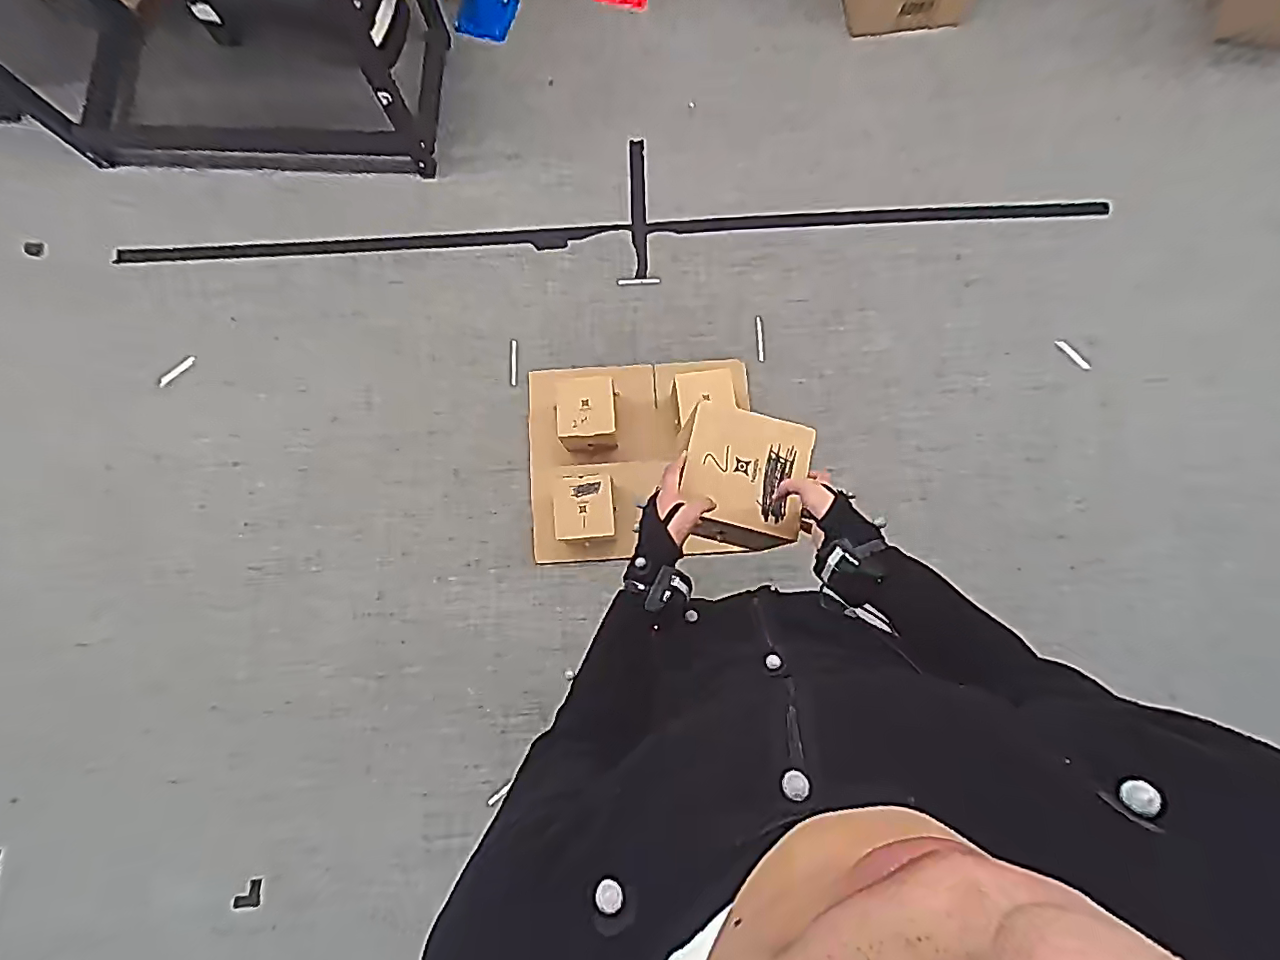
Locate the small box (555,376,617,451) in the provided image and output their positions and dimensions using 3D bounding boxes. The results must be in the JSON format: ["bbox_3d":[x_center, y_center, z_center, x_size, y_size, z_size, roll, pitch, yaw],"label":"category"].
[{"bbox_3d":[-0.158,-0.195,1.612,0.168,0.176,0.179,-4,80,0],"label":"small box"}]

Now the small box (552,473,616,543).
[{"bbox_3d":[-0.158,0.086,1.563,0.168,0.176,0.179,-5,81,0],"label":"small box"}]

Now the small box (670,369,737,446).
[{"bbox_3d":[0.185,-0.213,1.620,0.168,0.176,0.179,-7,80,-1],"label":"small box"}]
